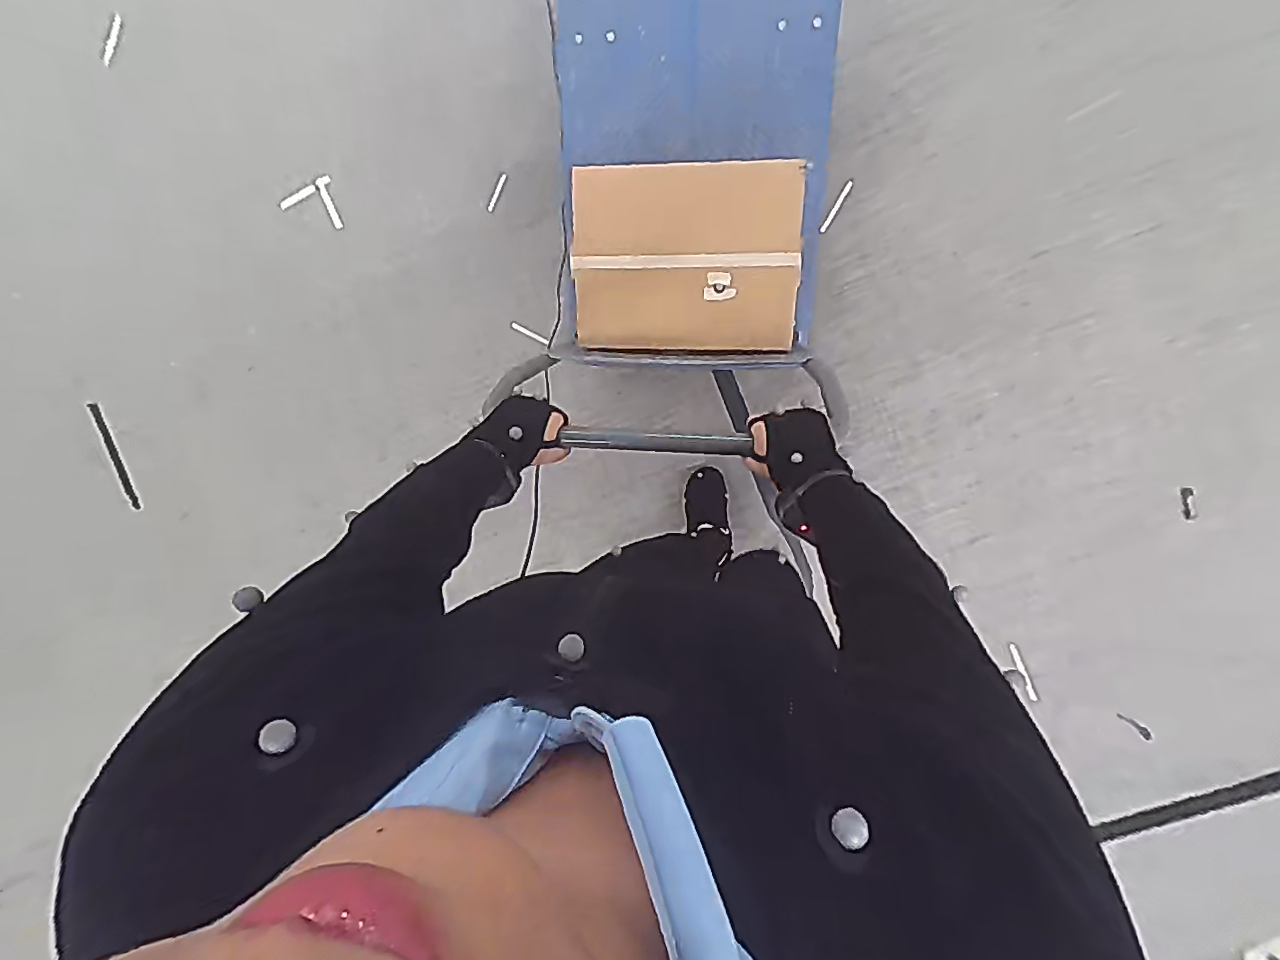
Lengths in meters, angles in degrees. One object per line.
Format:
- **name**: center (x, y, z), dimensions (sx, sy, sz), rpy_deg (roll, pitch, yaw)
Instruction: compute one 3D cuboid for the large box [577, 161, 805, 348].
- **large box**: center (0.103, -0.445, 1.127), dimensions (0.408, 0.320, 0.320), rpy_deg (3, 108, 7)
